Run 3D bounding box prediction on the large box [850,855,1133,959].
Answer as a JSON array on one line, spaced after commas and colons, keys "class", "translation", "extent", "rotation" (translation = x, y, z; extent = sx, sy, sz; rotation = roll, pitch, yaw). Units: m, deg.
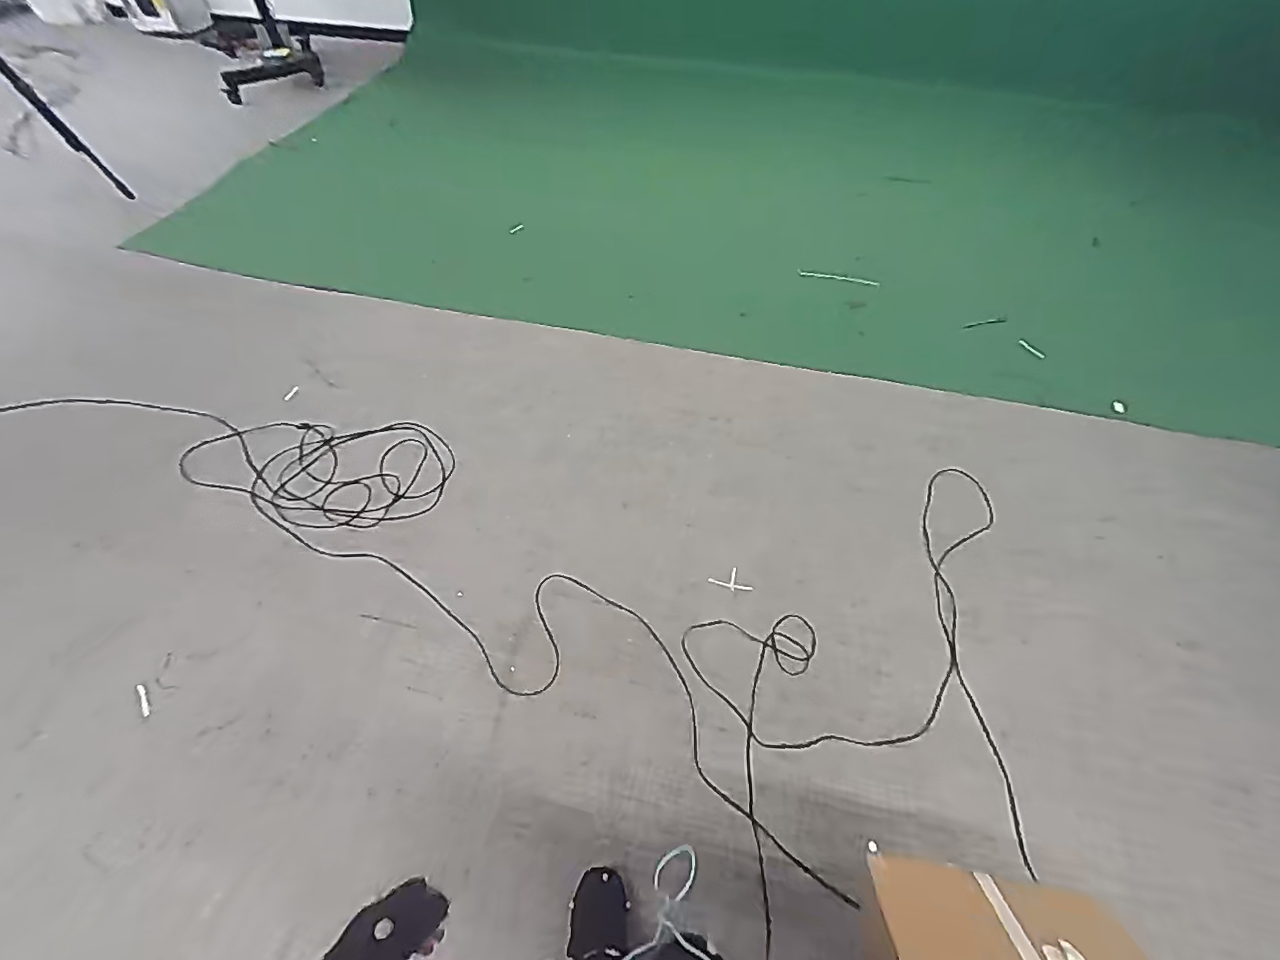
[{"class": "large box", "translation": [0.438, 0.739, 0.609], "extent": [0.320, 0.408, 0.320], "rotation": [6, 95, 9]}]
